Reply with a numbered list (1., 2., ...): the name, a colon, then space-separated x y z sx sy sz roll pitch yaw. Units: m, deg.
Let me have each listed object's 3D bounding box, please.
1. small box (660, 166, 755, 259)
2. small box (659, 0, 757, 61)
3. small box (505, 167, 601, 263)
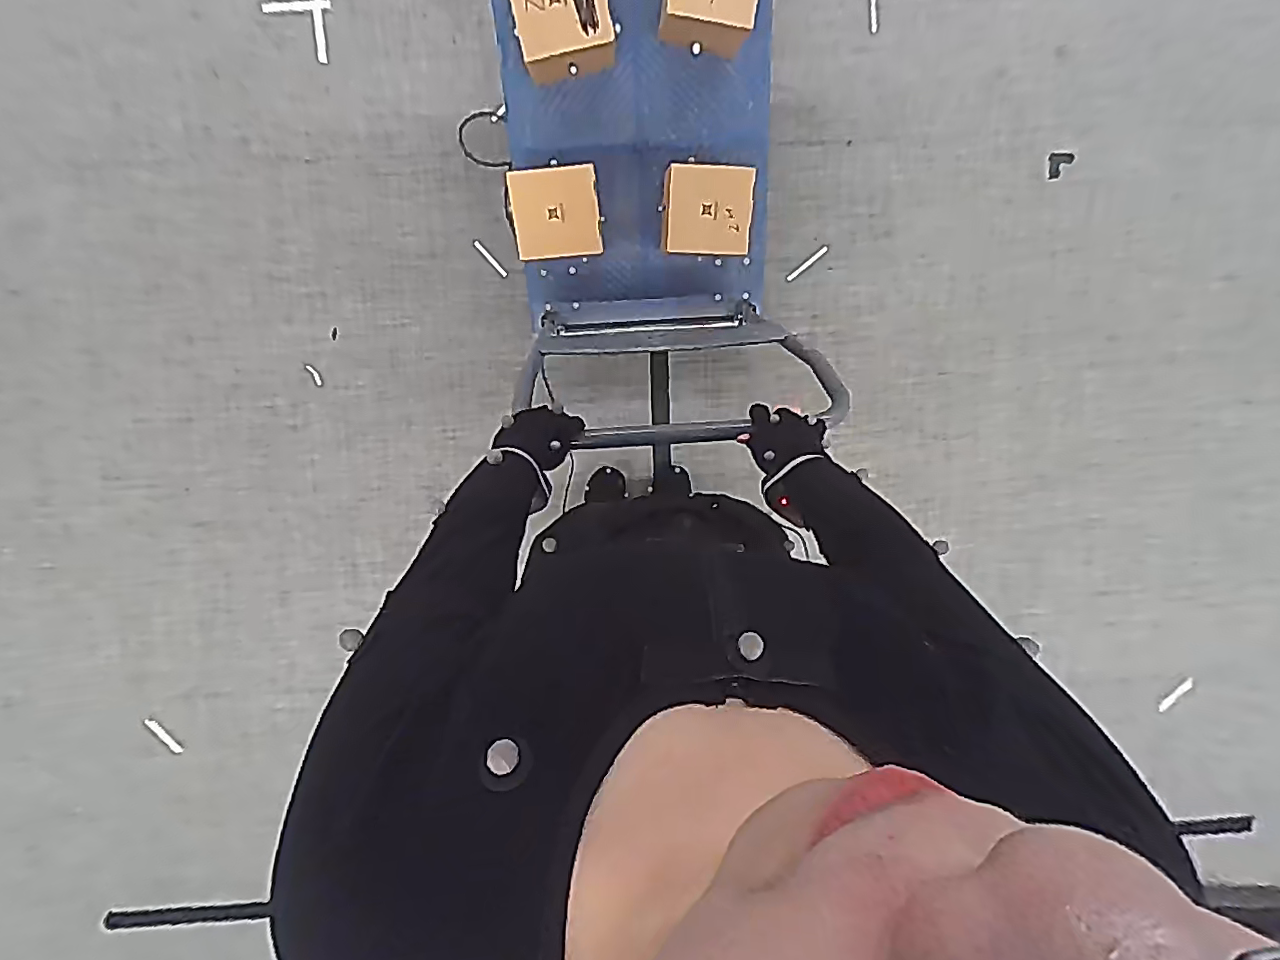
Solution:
1. small box: 0.138 -0.578 1.185 0.179 0.176 0.168 1 113 -4
2. small box: 0.132 -0.946 1.034 0.168 0.176 0.179 6 113 -6
3. small box: -0.179 -0.565 1.171 0.179 0.176 0.168 -7 113 -2
